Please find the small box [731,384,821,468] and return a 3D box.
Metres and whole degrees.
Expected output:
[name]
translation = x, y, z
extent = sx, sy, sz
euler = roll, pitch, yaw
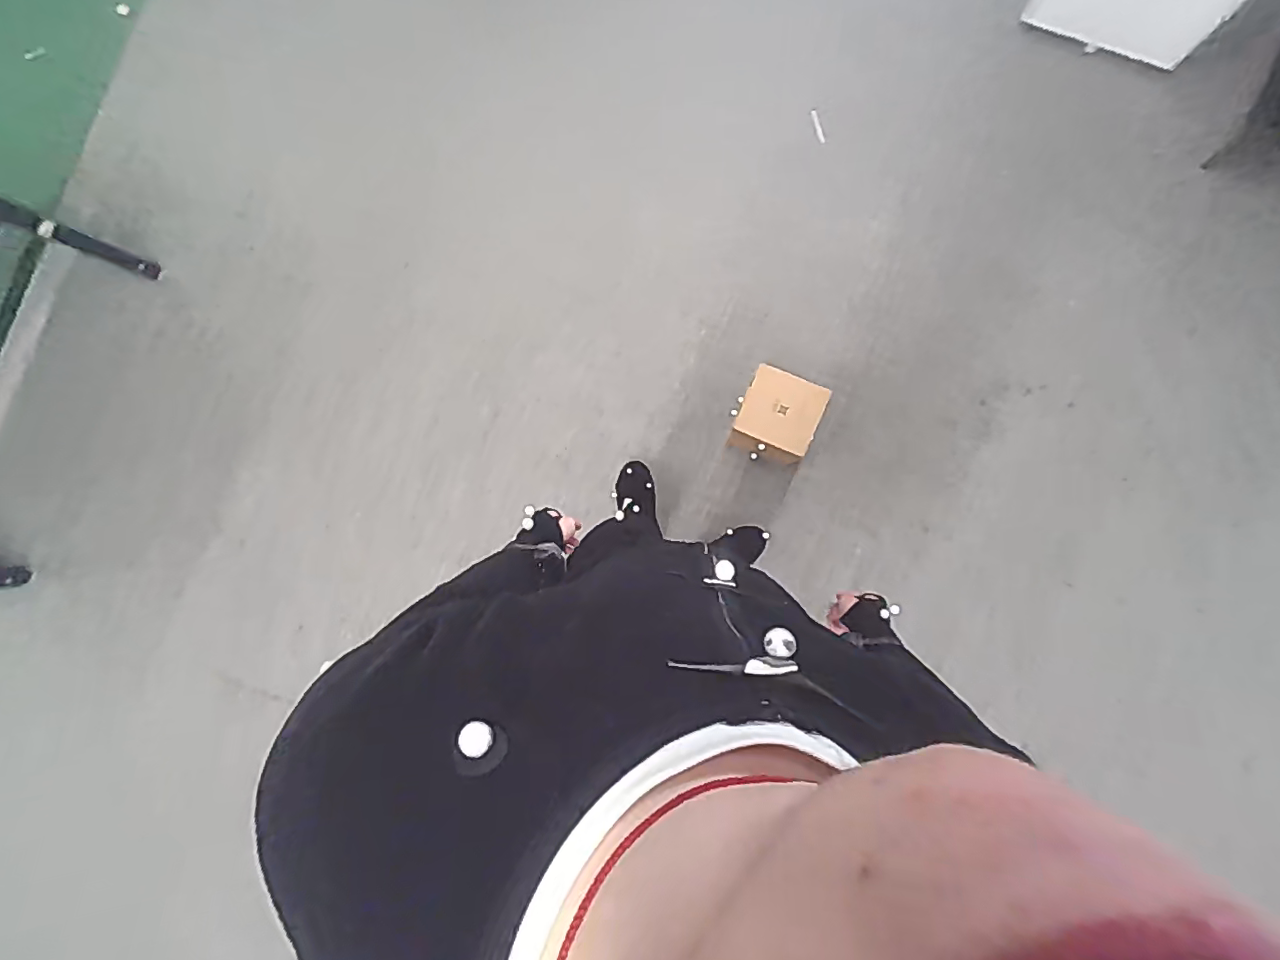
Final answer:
[small box]
translation = 0.361, -0.140, 1.469
extent = 0.179, 0.176, 0.168
euler = 25, 90, 7
